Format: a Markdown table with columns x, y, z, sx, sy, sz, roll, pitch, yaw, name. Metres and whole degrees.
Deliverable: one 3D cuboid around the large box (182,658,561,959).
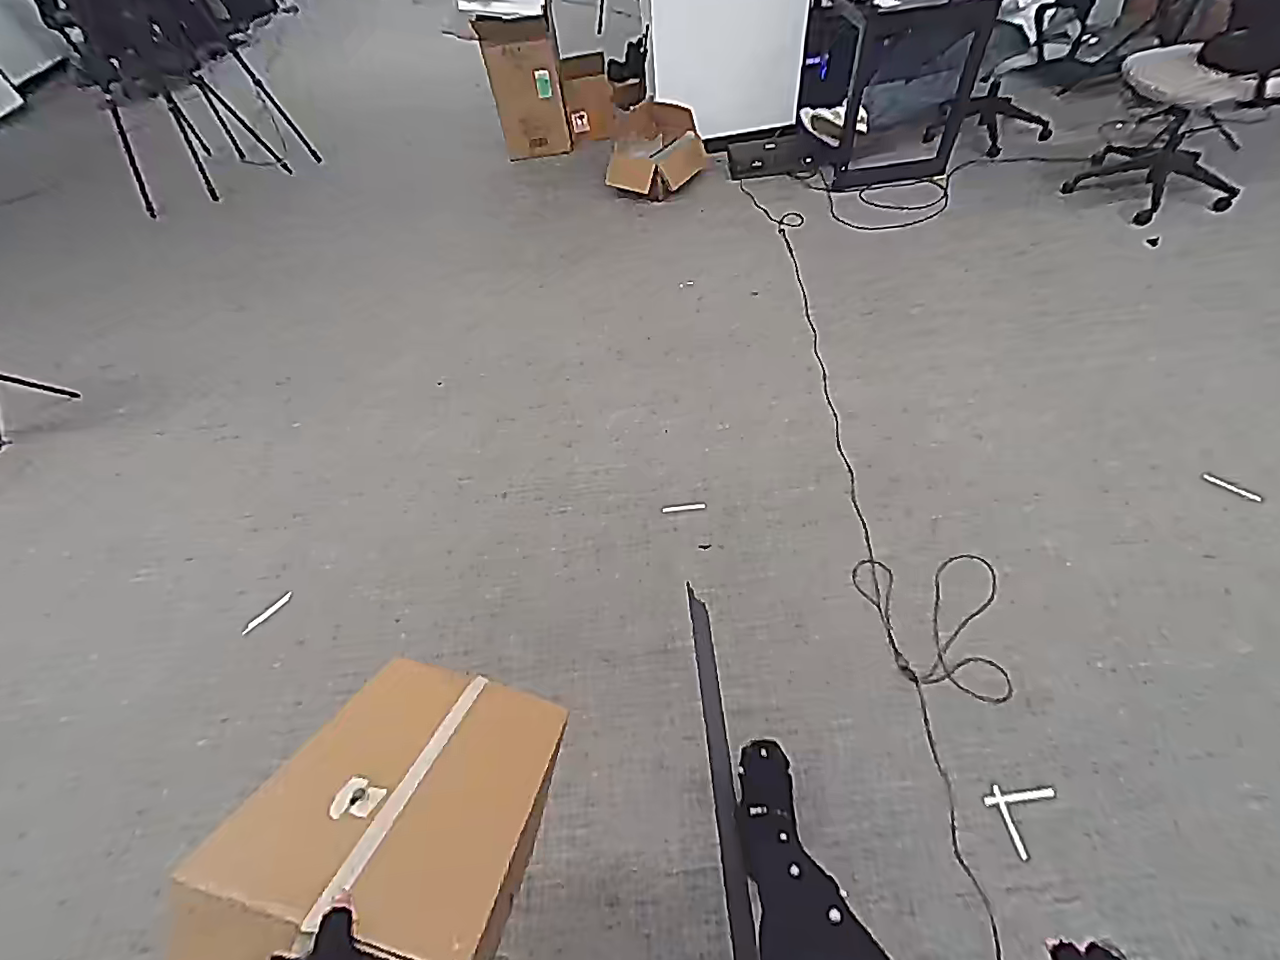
| x | y | z | sx | sy | sz | roll | pitch | yaw | name |
| --- | --- | --- | --- | --- | --- | --- | --- | --- | --- |
| -0.338 | 0.537 | 0.775 | 0.320 | 0.320 | 0.408 | 16 | 17 | 4 | large box |
